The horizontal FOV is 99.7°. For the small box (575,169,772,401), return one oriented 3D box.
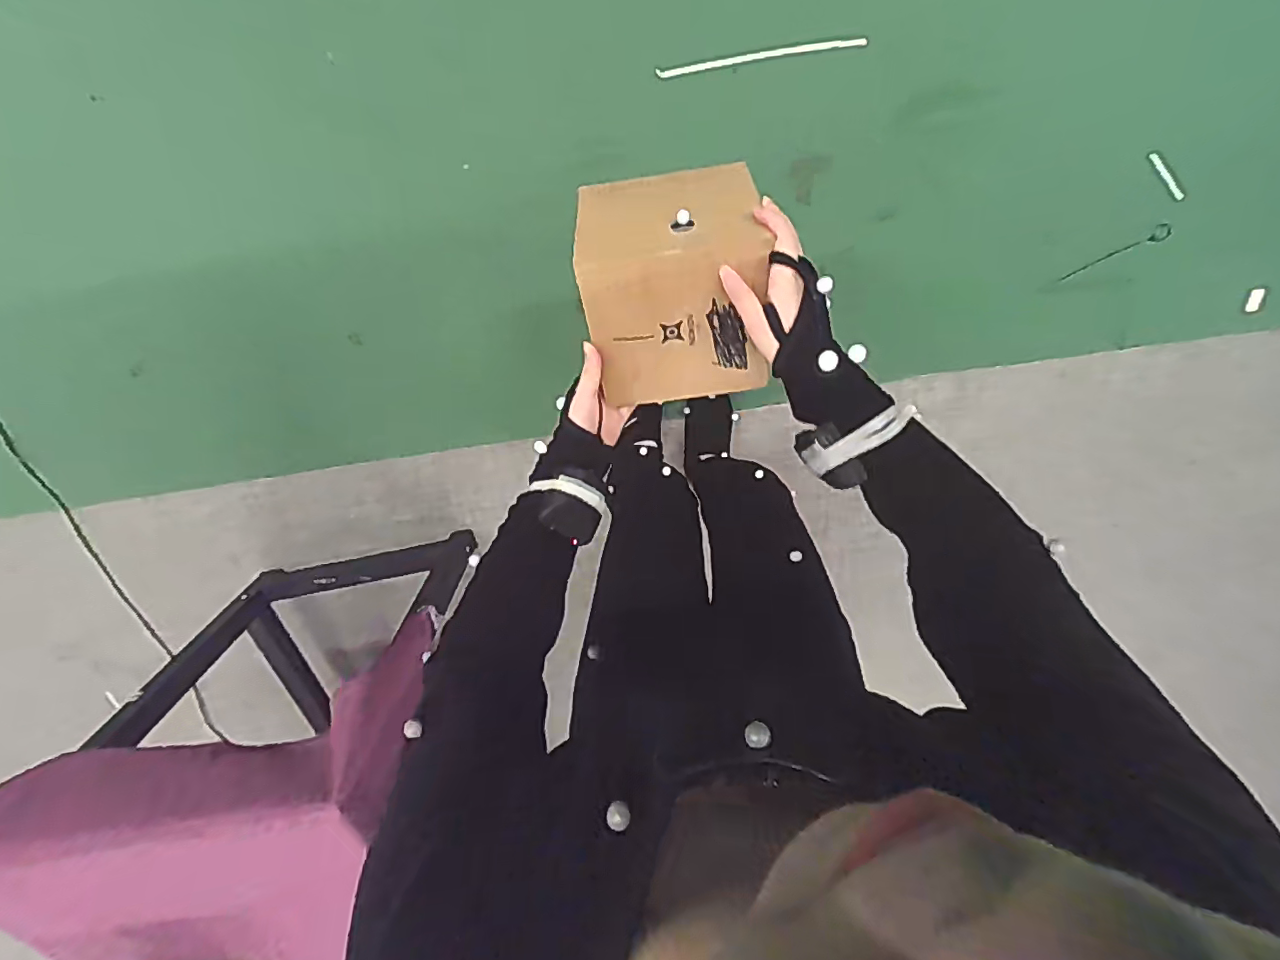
[{"bbox_3d":[0.034,-0.209,0.578,0.179,0.176,0.168,-6,138,5],"label":"small box"}]
